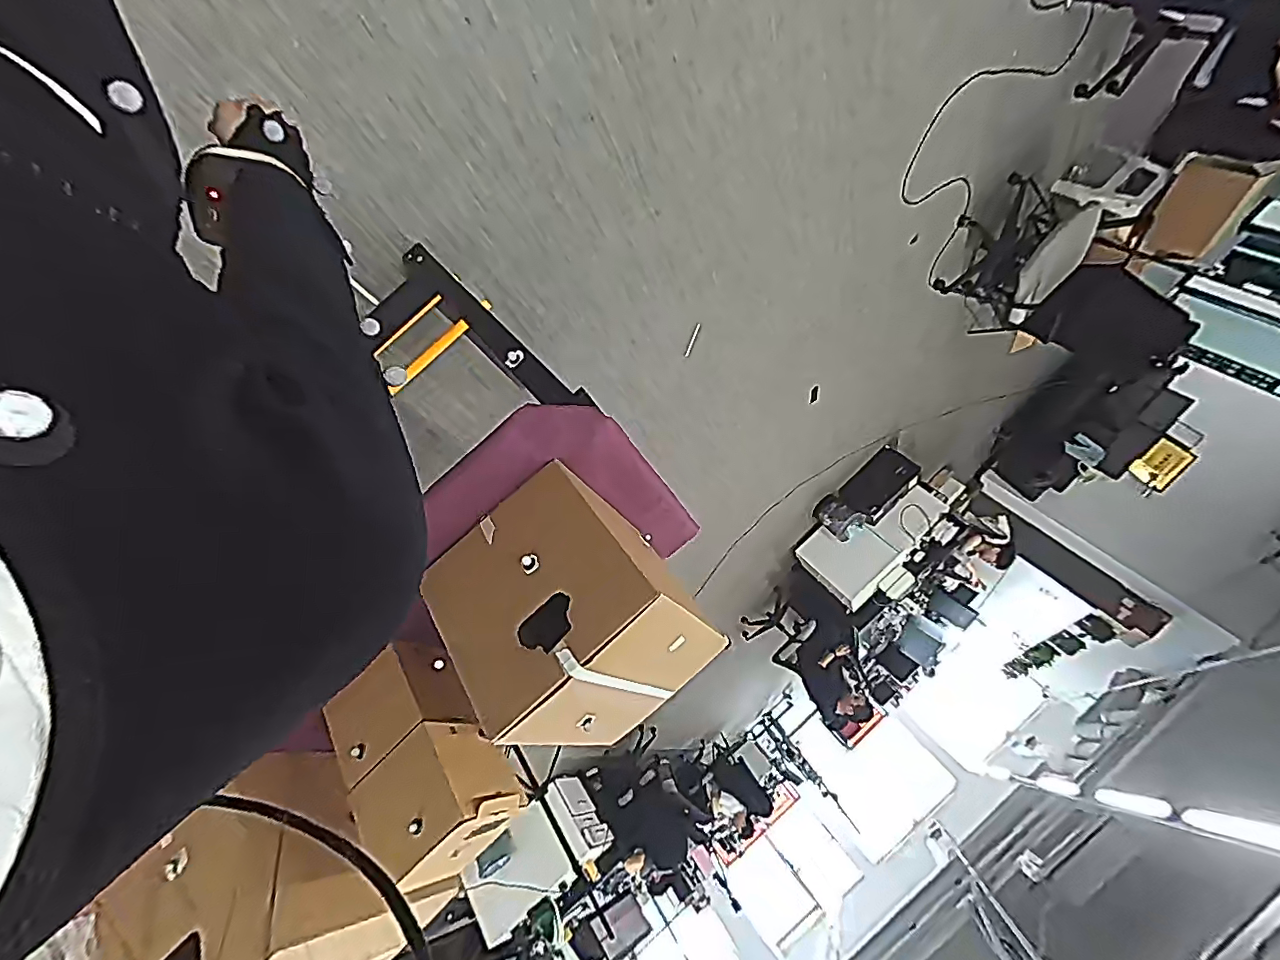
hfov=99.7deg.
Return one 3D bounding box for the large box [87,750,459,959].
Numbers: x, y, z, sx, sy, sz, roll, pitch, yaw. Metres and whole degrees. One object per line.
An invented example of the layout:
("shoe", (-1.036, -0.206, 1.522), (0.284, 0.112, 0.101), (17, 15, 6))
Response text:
("large box", (-0.617, 0.717, 0.951), (0.320, 0.320, 0.408), (-43, 148, -1))
